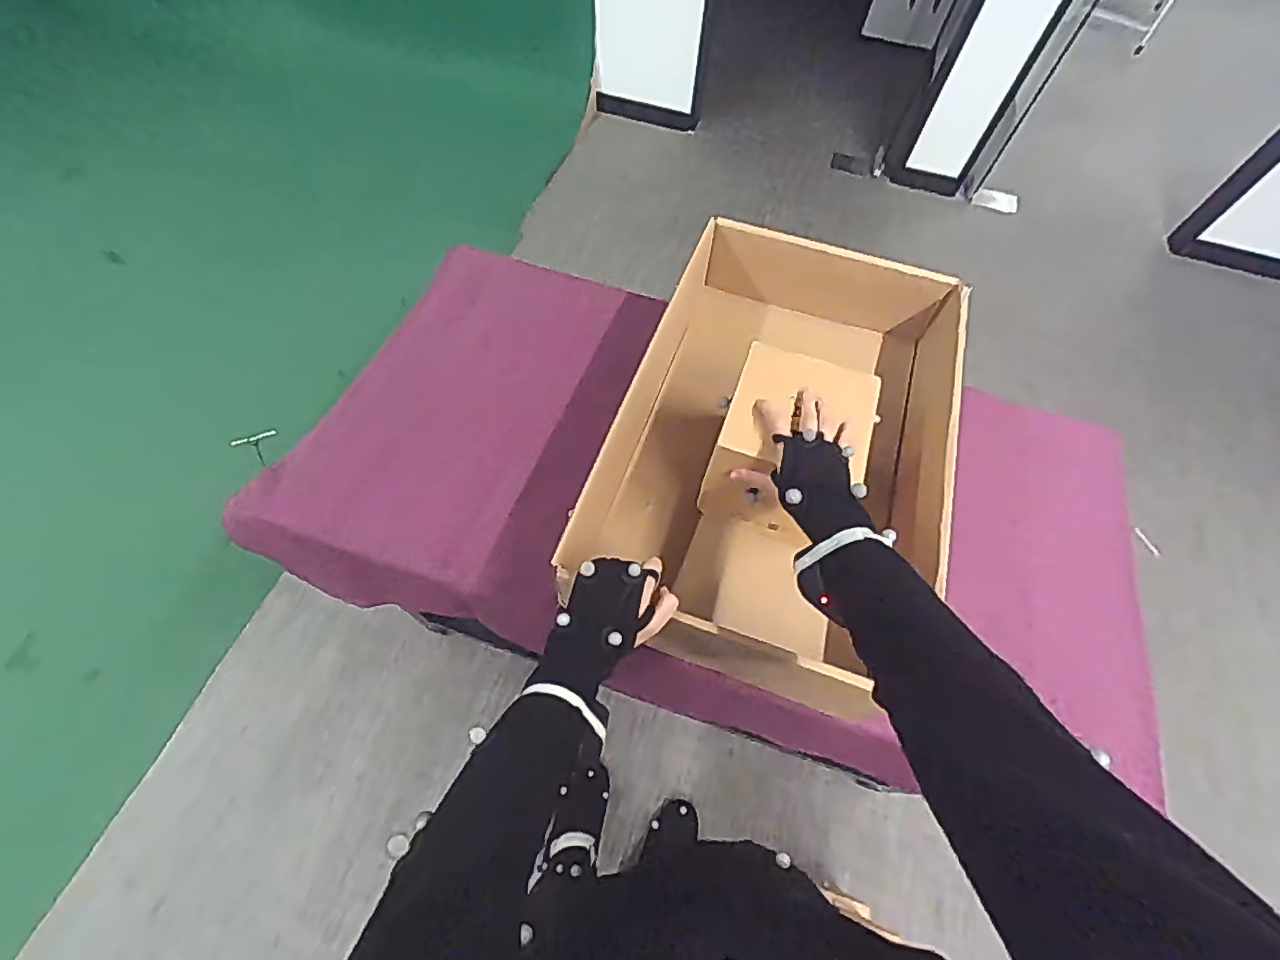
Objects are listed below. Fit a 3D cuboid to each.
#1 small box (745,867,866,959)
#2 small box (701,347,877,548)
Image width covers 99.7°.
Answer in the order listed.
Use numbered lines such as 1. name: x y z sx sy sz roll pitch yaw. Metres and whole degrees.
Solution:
1. small box: 0.326 0.907 1.084 0.179 0.176 0.168 16 62 6
2. small box: 0.184 -0.035 0.705 0.168 0.176 0.179 19 60 8
